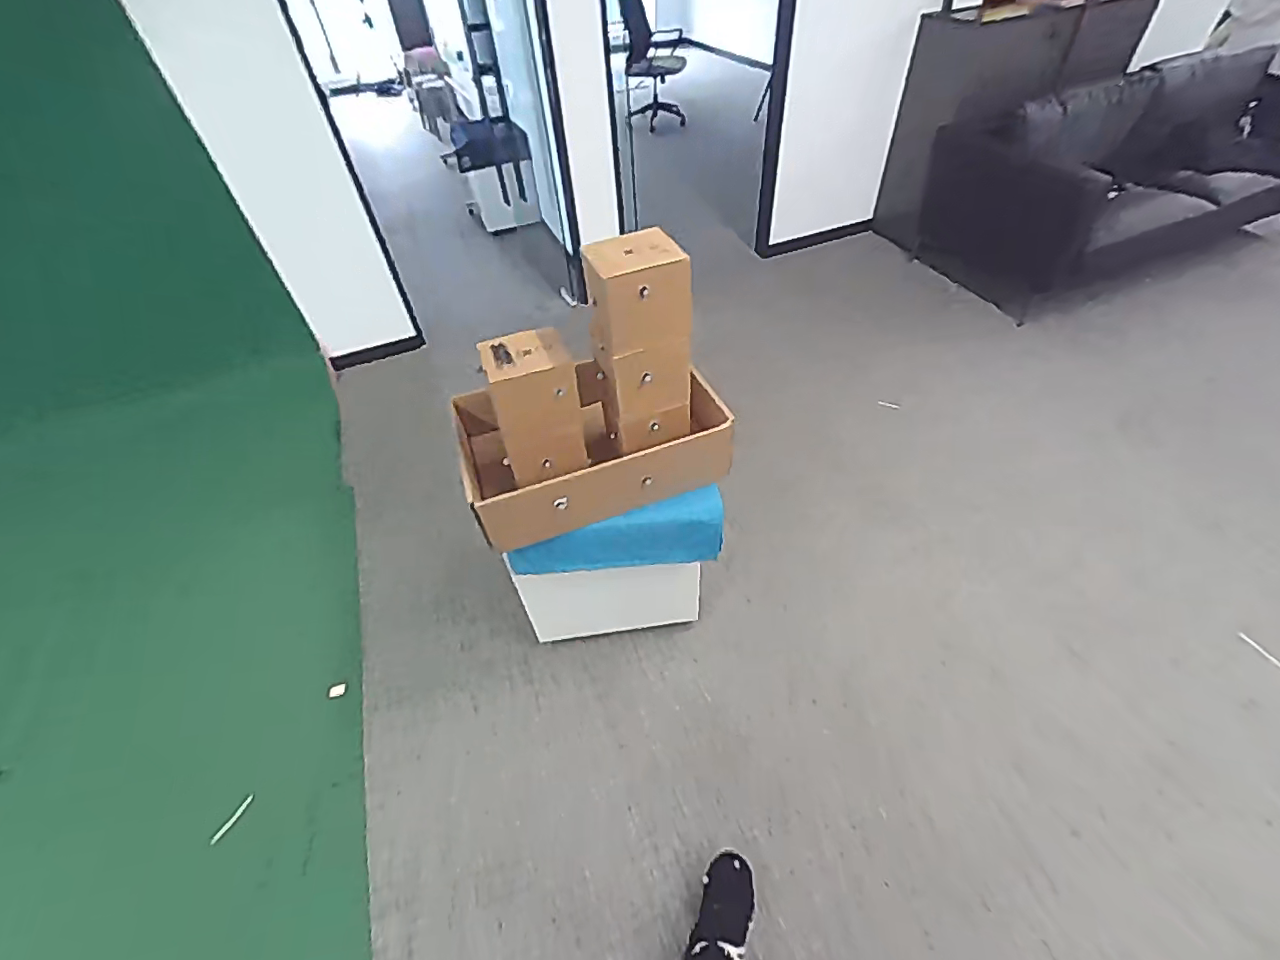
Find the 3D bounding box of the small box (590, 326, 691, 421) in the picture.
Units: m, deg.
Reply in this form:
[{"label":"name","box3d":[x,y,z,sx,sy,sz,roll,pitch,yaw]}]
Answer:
[{"label":"small box","box3d":[0.005,-0.260,1.226,0.179,0.176,0.168,-20,48,-10]}]

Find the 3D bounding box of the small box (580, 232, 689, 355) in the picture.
[{"label":"small box","box3d":[-0.006,-0.380,1.113,0.179,0.176,0.168,-18,47,-10]}]
